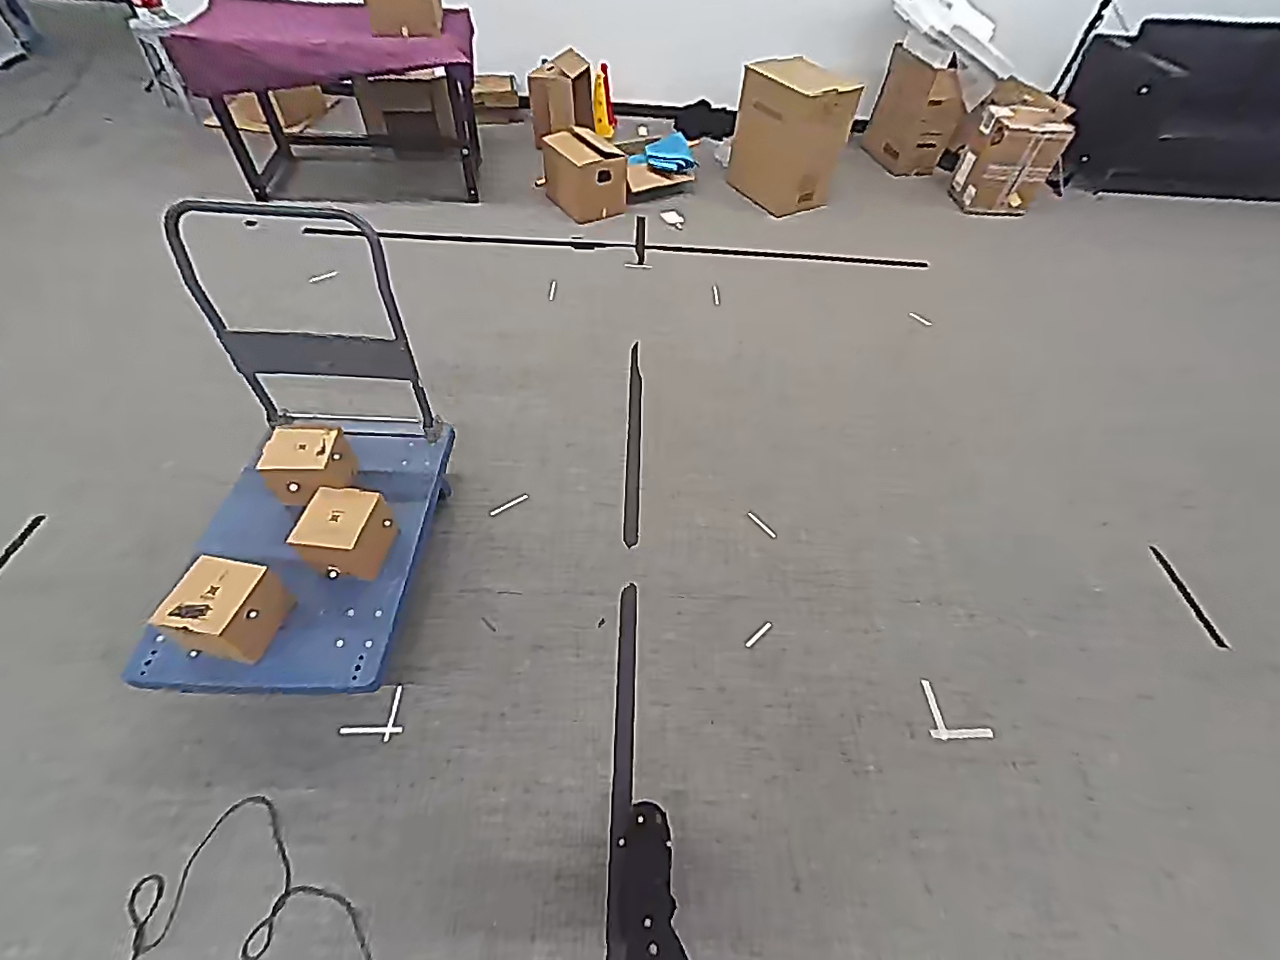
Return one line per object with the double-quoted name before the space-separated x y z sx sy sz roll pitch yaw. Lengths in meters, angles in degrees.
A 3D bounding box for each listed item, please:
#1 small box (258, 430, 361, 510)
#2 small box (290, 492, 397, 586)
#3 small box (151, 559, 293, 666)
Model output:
"small box" -0.940 -0.026 1.555 0.179 0.176 0.168 -1 52 -4
"small box" -0.765 0.155 1.422 0.168 0.176 0.179 6 52 2
"small box" -0.965 0.316 1.271 0.168 0.176 0.179 10 49 3
